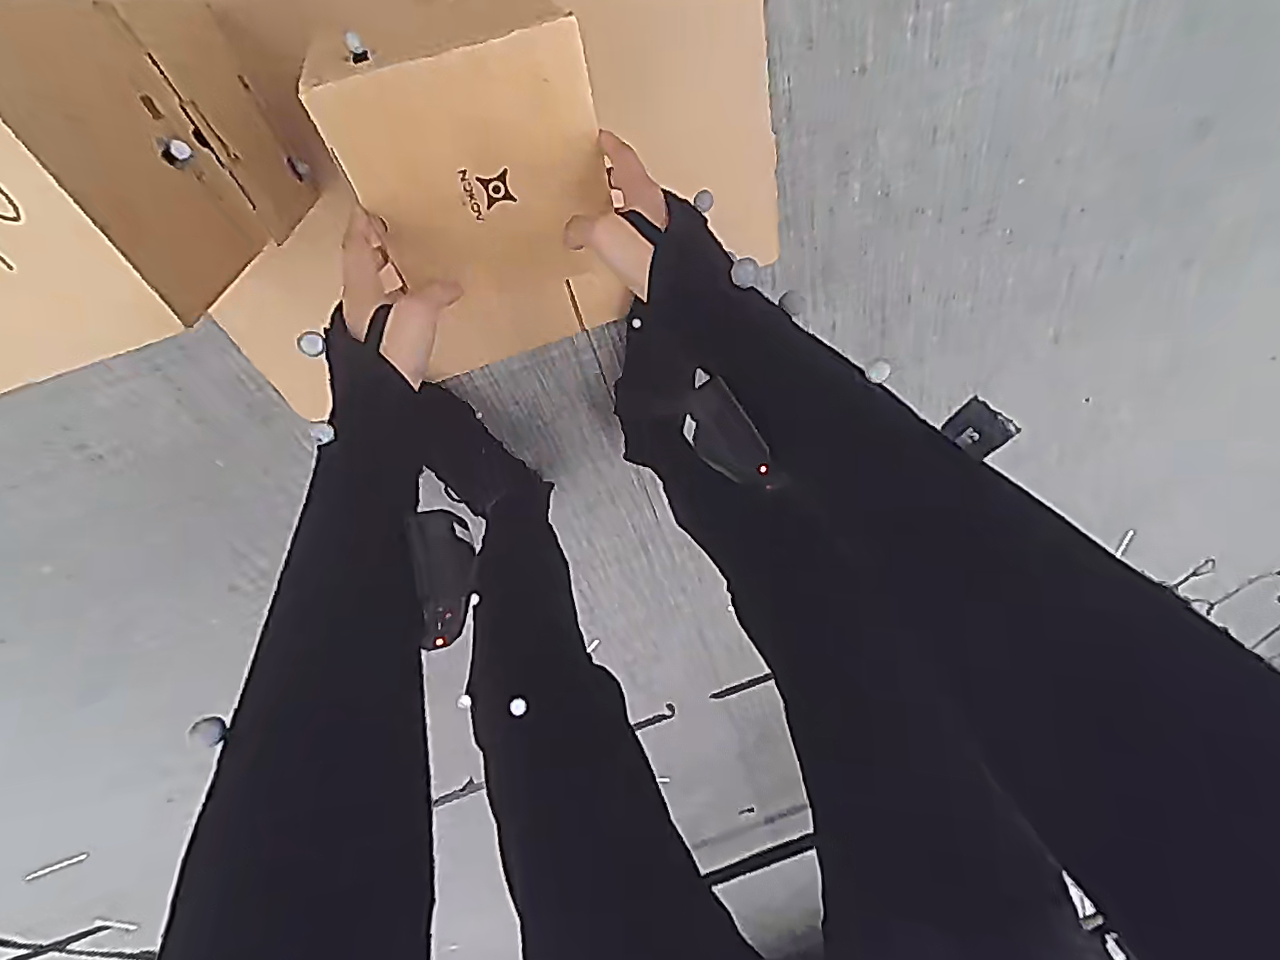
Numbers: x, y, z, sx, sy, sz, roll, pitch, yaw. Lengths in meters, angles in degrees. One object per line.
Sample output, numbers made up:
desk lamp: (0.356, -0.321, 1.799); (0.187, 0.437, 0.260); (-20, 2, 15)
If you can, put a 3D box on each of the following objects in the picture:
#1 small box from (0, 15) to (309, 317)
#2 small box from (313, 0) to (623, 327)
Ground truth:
small box: (-0.419, -0.273, 0.465); (0.179, 0.176, 0.168); (-19, 132, 0)
small box: (-0.132, -0.261, 0.441); (0.179, 0.176, 0.168); (-20, 140, -5)
